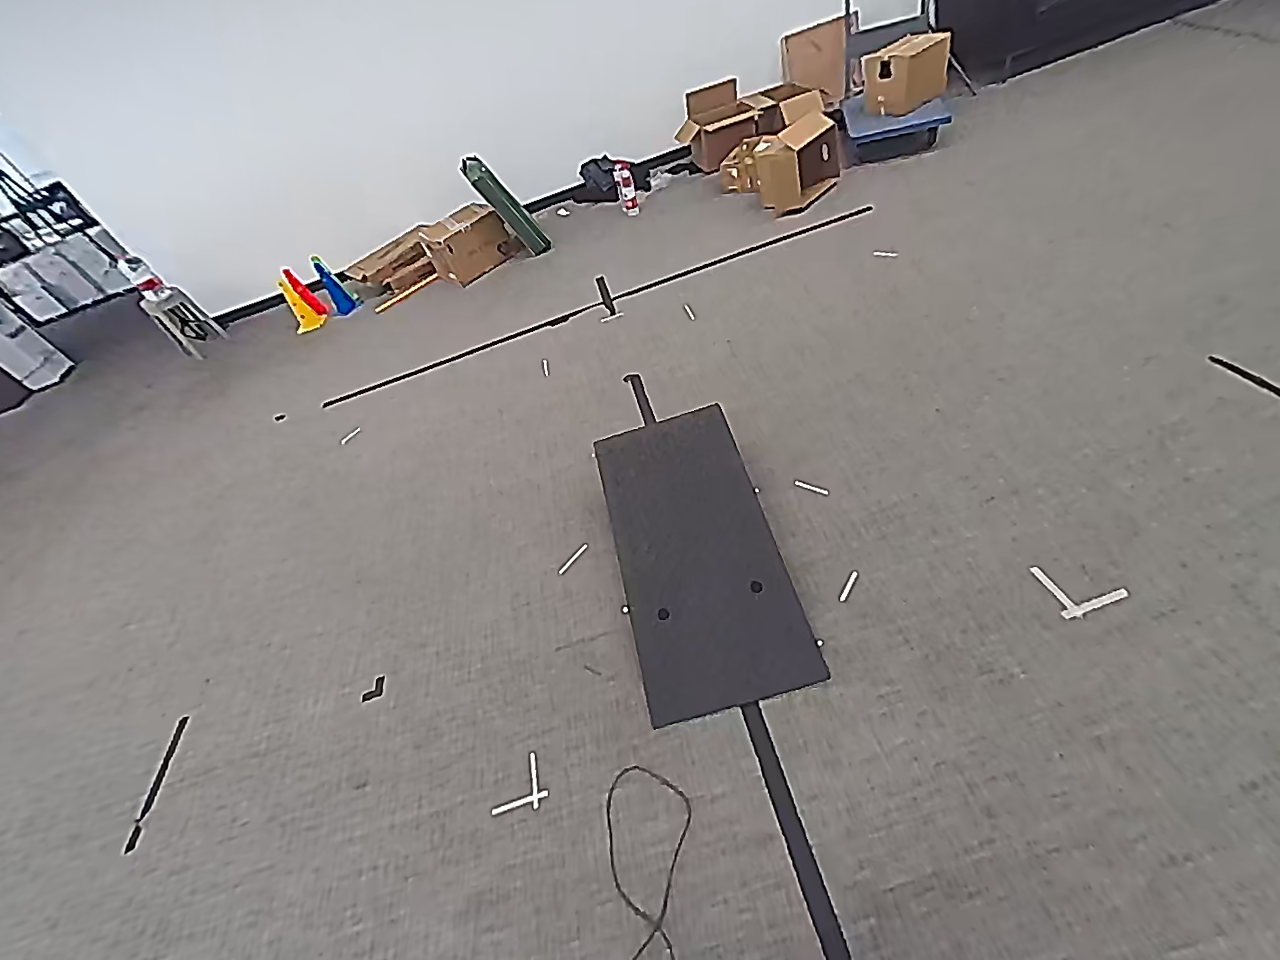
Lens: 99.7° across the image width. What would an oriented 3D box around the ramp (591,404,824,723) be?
[{"bbox_3d":[0.157,0.190,1.716,0.509,0.206,0.991,-18,45,1],"label":"ramp"}]
